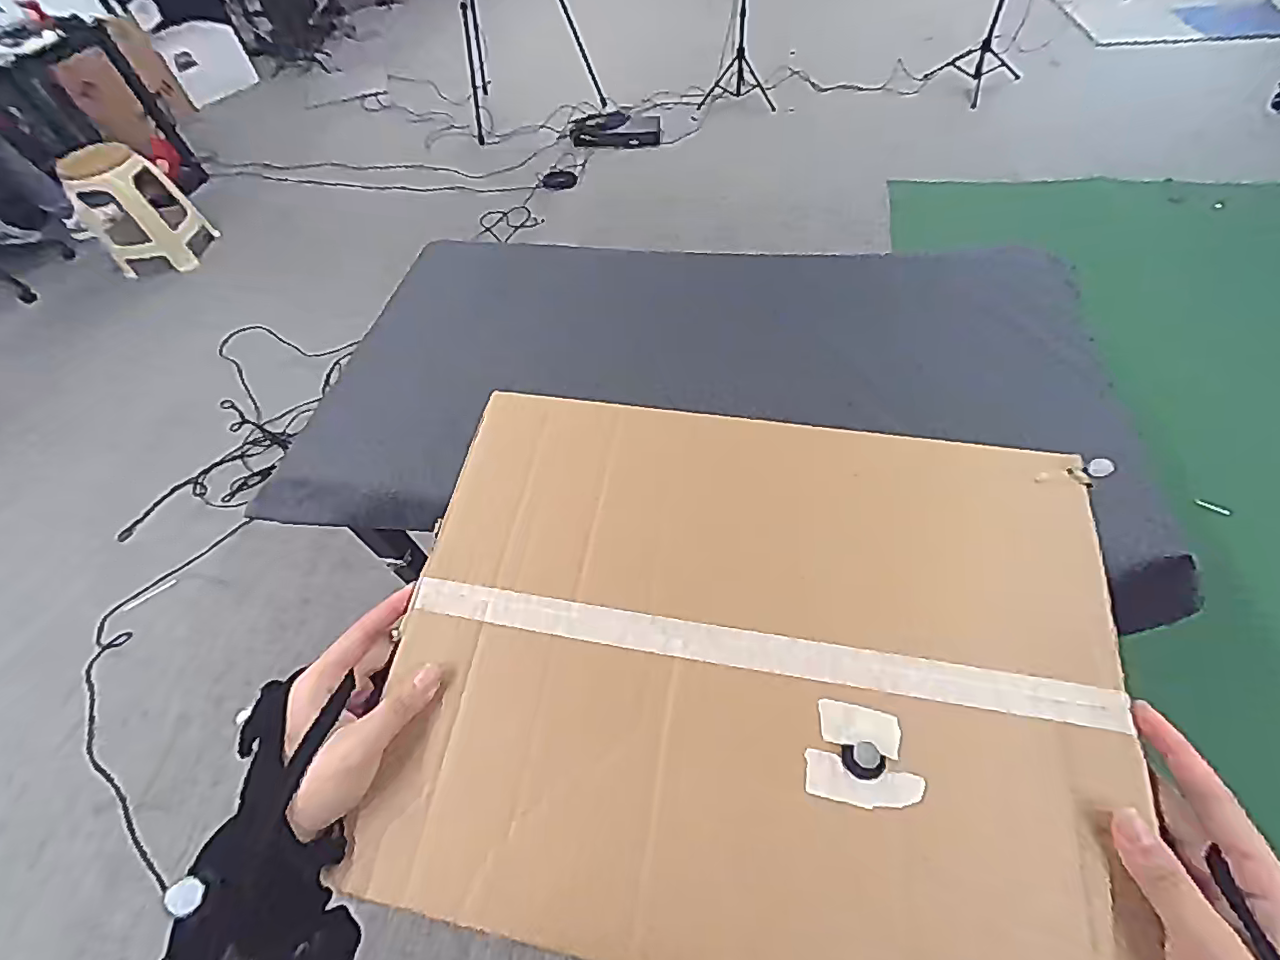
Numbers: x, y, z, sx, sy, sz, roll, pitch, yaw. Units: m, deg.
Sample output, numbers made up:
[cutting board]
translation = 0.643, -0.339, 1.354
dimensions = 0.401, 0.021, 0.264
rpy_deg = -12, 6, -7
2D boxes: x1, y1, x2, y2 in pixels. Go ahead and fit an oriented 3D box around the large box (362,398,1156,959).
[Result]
[large box]
translation = 0.074, 0.159, 0.464
dimensions = 0.408, 0.320, 0.320
rpy_deg = 8, 65, 7
